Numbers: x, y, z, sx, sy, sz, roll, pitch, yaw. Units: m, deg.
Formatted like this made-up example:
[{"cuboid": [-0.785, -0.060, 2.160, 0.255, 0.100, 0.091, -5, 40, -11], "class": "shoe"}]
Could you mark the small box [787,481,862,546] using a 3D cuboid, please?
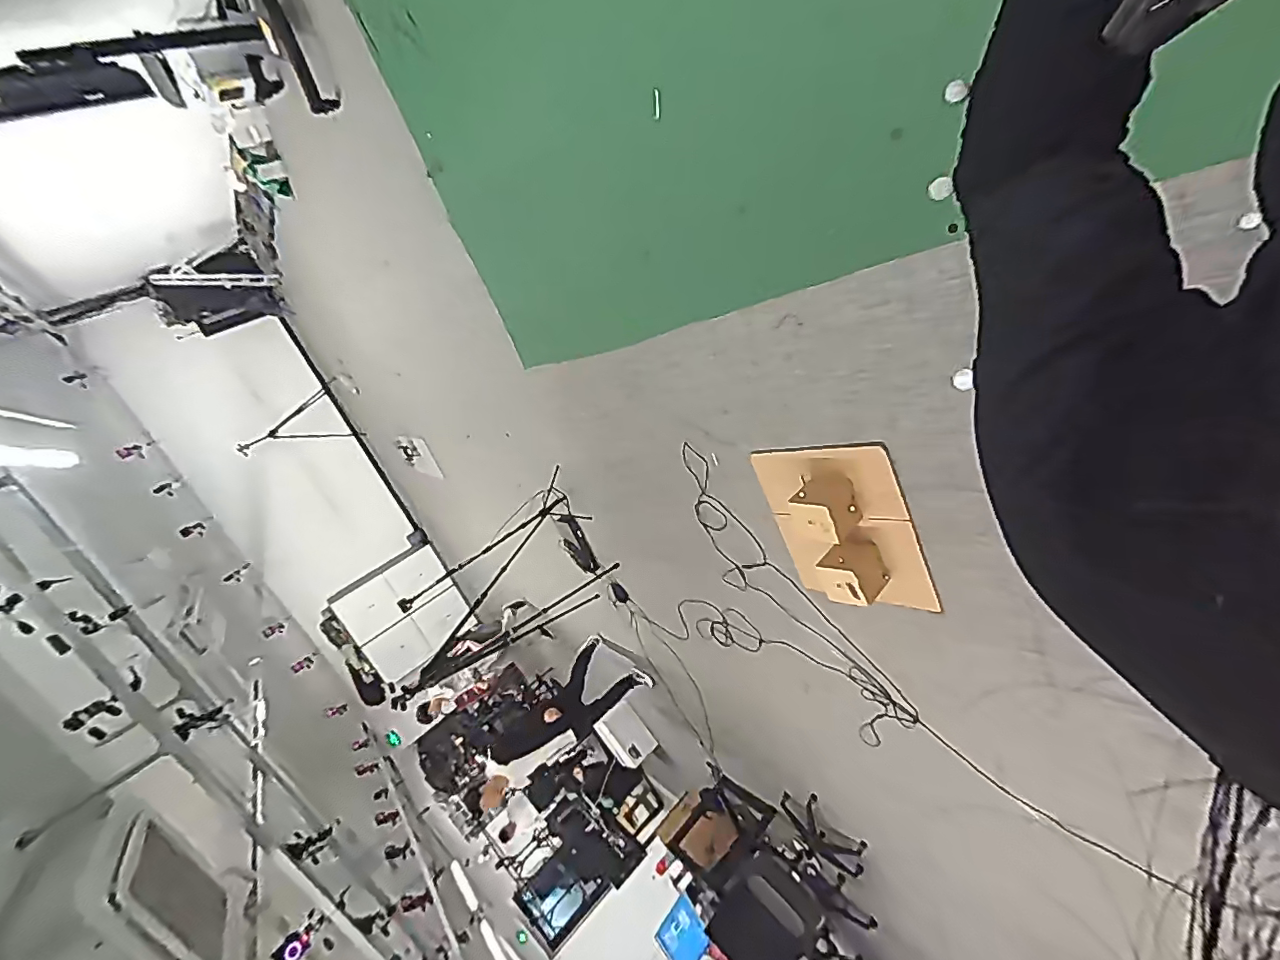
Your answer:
[{"cuboid": [0.679, 0.117, 1.983, 0.179, 0.176, 0.168, 4, 125, 53], "class": "small box"}]

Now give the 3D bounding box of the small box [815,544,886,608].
[{"cuboid": [0.805, 0.358, 2.045, 0.179, 0.176, 0.168, -4, 117, 57], "class": "small box"}]
